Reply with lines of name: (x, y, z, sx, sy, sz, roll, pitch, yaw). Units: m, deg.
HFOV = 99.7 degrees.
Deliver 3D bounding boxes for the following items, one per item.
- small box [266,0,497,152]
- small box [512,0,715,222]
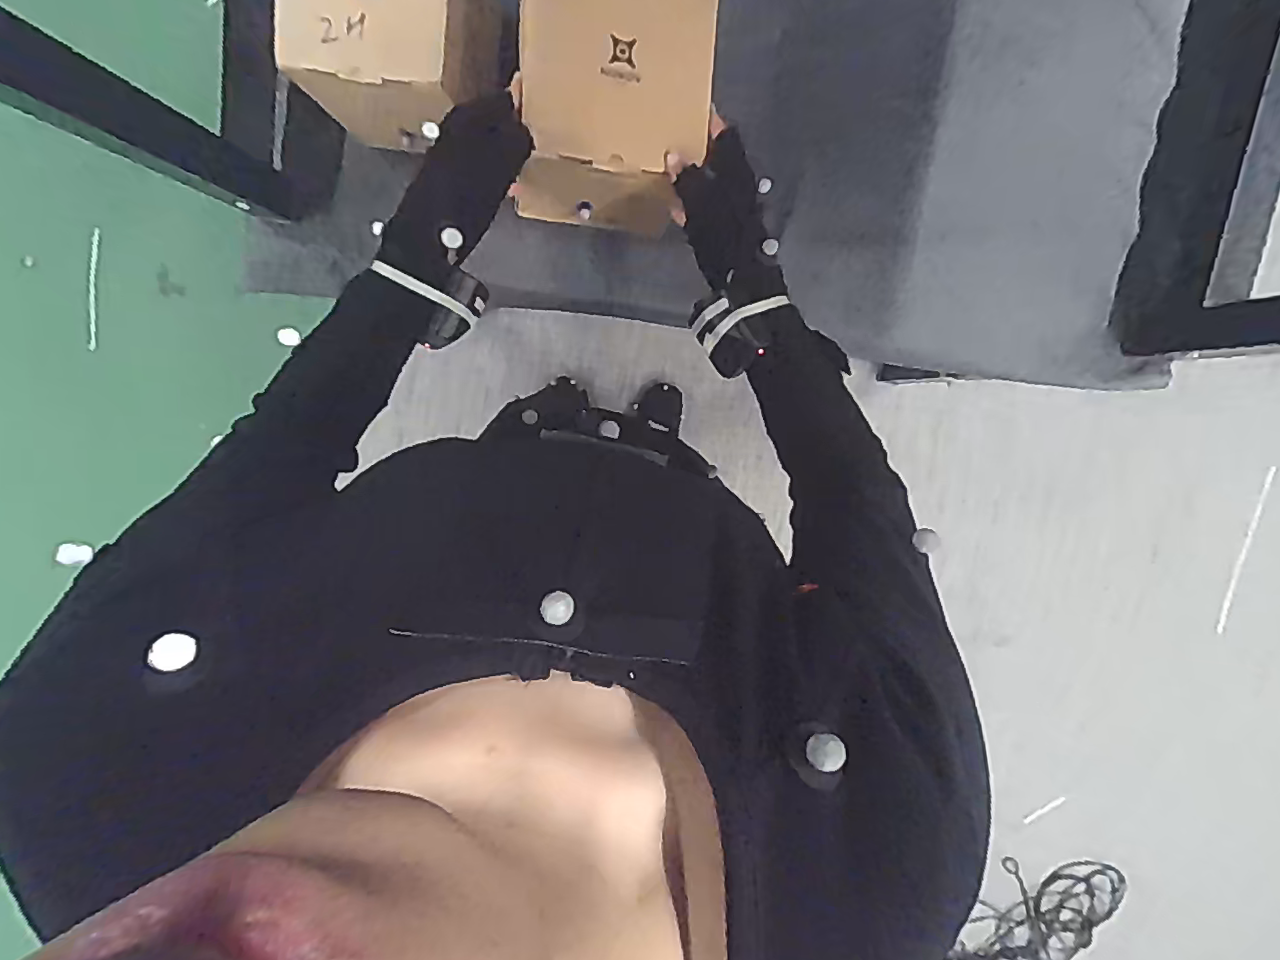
small box: (-0.260, -0.491, 0.580, 0.168, 0.176, 0.179, 8, 98, 0)
small box: (-0.038, -0.377, 0.529, 0.168, 0.176, 0.179, 1, 100, -15)
